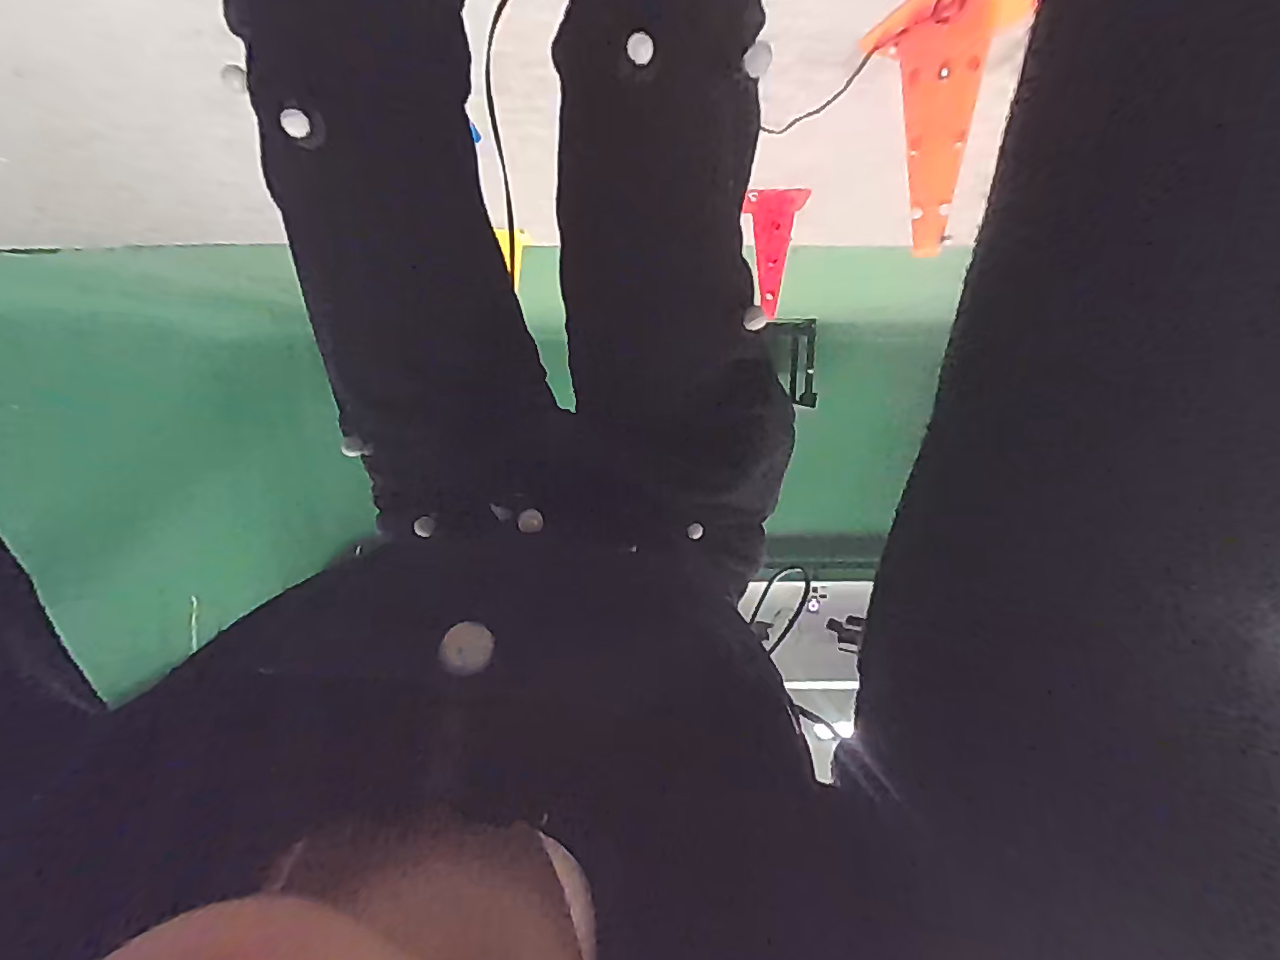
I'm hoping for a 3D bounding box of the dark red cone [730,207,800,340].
[{"bbox_3d":[0.393,-0.652,1.725,0.202,0.394,0.201,0,-169,7],"label":"dark red cone"}]

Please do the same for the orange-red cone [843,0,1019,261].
[{"bbox_3d":[0.466,-0.556,0.898,0.199,0.360,0.198,-5,-170,-20],"label":"orange-red cone"}]
